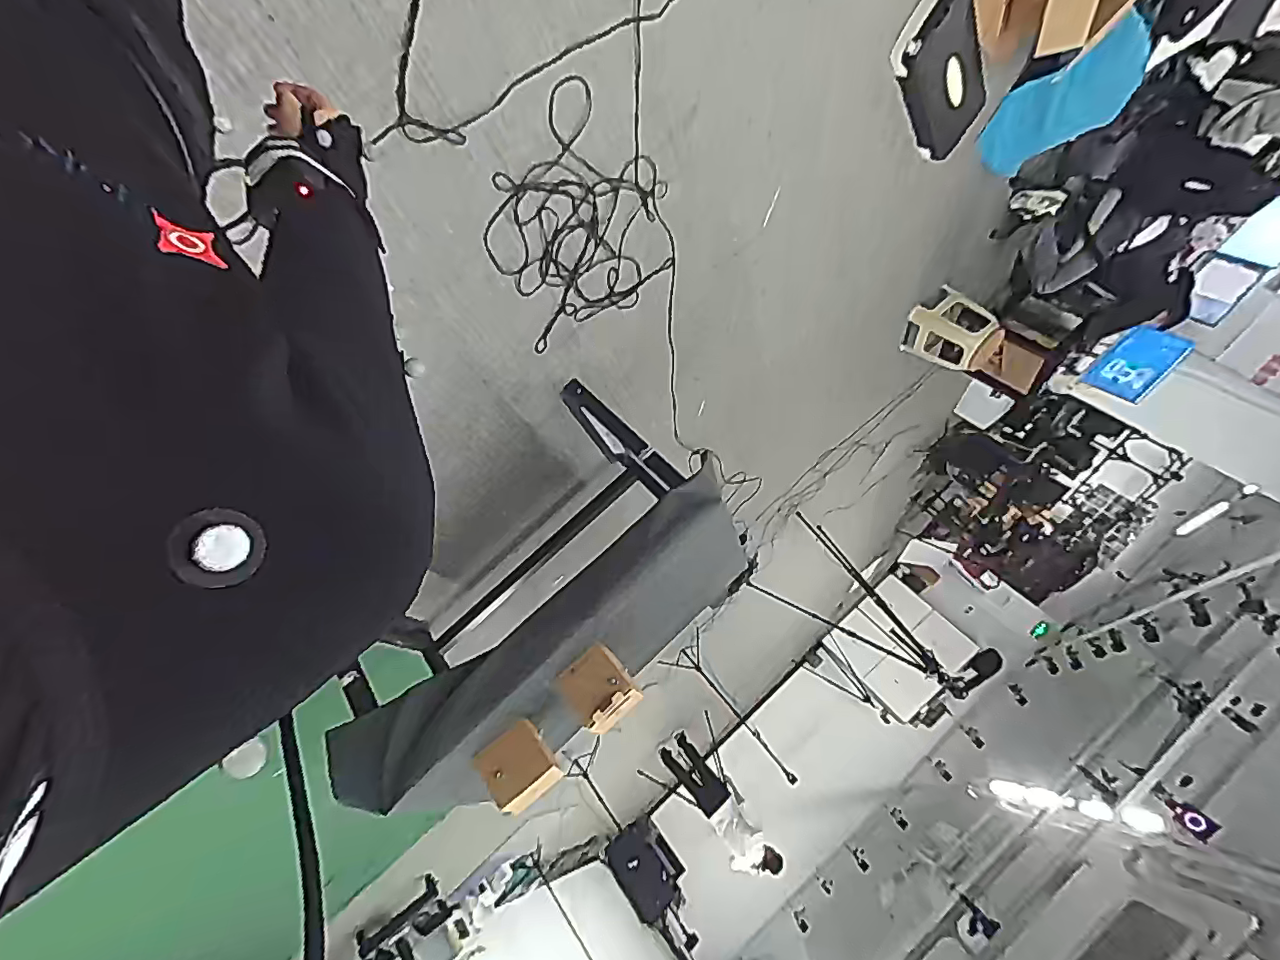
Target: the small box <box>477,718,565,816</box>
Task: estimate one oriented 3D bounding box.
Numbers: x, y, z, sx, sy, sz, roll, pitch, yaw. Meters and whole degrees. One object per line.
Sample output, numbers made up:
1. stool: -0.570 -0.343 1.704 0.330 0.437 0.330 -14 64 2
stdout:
1. small box: -0.348 0.827 1.562 0.179 0.176 0.168 -36 149 -18
